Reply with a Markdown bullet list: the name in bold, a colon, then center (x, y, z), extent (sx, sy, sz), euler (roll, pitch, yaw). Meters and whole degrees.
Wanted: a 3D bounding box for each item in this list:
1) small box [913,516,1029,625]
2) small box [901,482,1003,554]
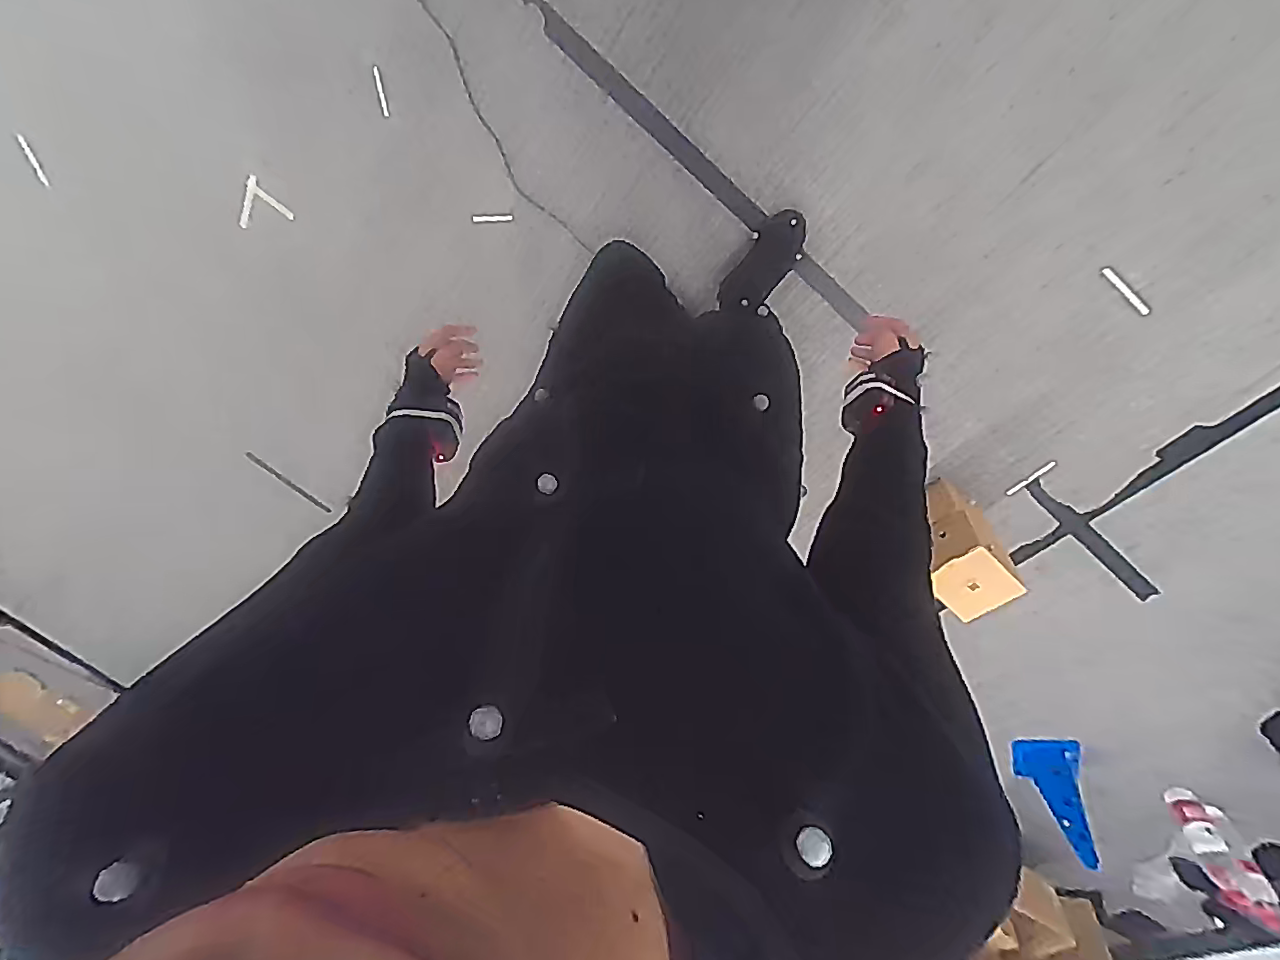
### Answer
- **small box**: center (0.829, 0.224, 1.370), extent (0.179, 0.176, 0.168), euler (41, 121, -7)
- **small box**: center (0.857, 0.142, 1.509), extent (0.168, 0.176, 0.179), euler (37, 121, -6)
